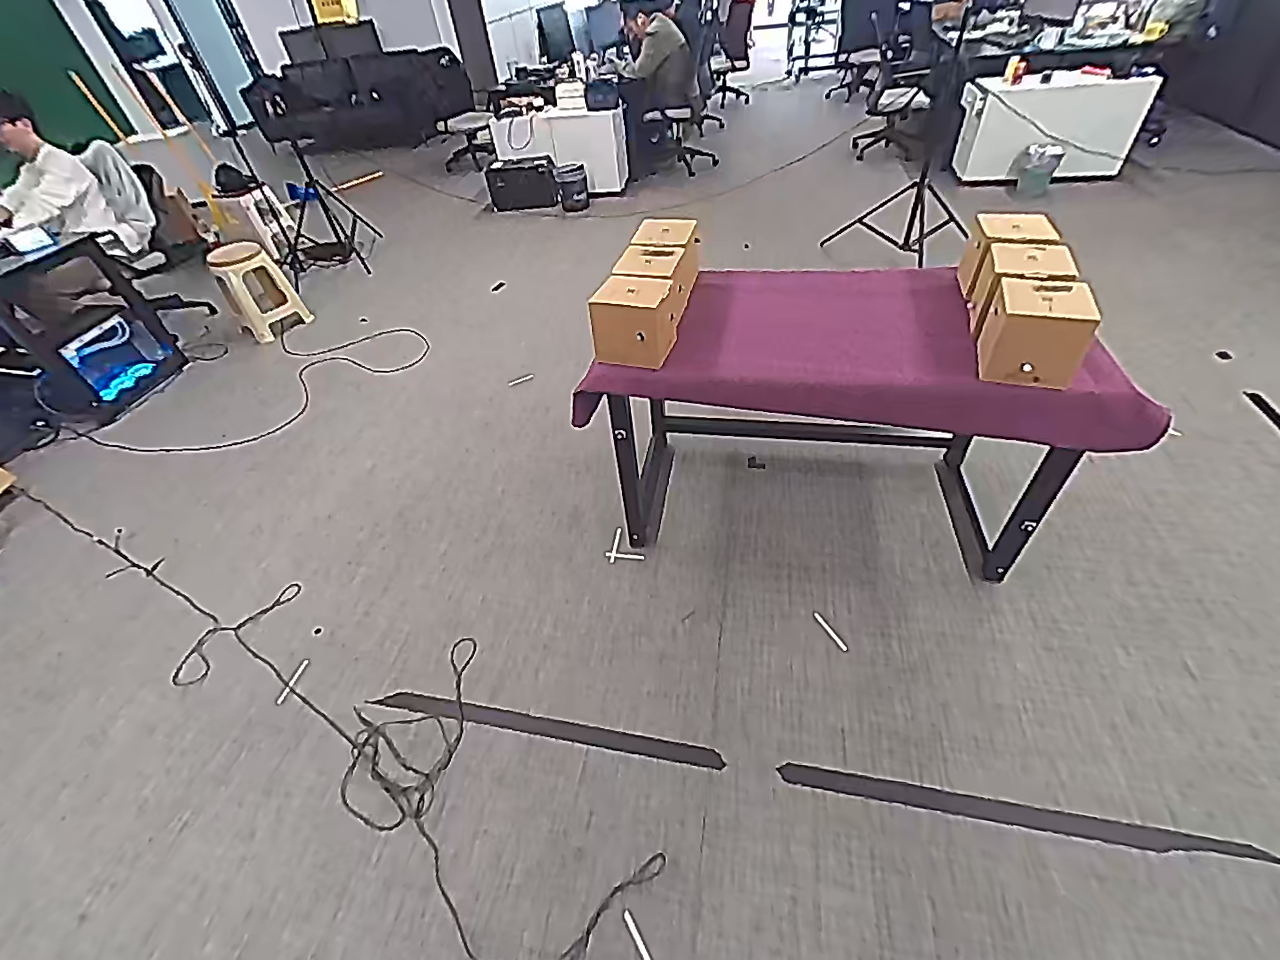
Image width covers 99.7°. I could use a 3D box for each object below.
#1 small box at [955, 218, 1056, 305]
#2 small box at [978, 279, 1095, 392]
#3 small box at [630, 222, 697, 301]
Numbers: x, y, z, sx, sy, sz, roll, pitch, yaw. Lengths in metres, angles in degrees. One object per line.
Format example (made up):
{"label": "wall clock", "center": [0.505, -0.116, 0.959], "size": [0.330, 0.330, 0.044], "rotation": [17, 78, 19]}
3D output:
{"label": "small box", "center": [0.974, -0.589, 1.461], "size": [0.168, 0.176, 0.179], "rotation": [8, 46, 13]}
{"label": "small box", "center": [0.869, -0.322, 1.202], "size": [0.168, 0.176, 0.179], "rotation": [12, 51, 22]}
{"label": "small box", "center": [0.076, -0.663, 1.639], "size": [0.168, 0.176, 0.179], "rotation": [8, 47, 14]}
